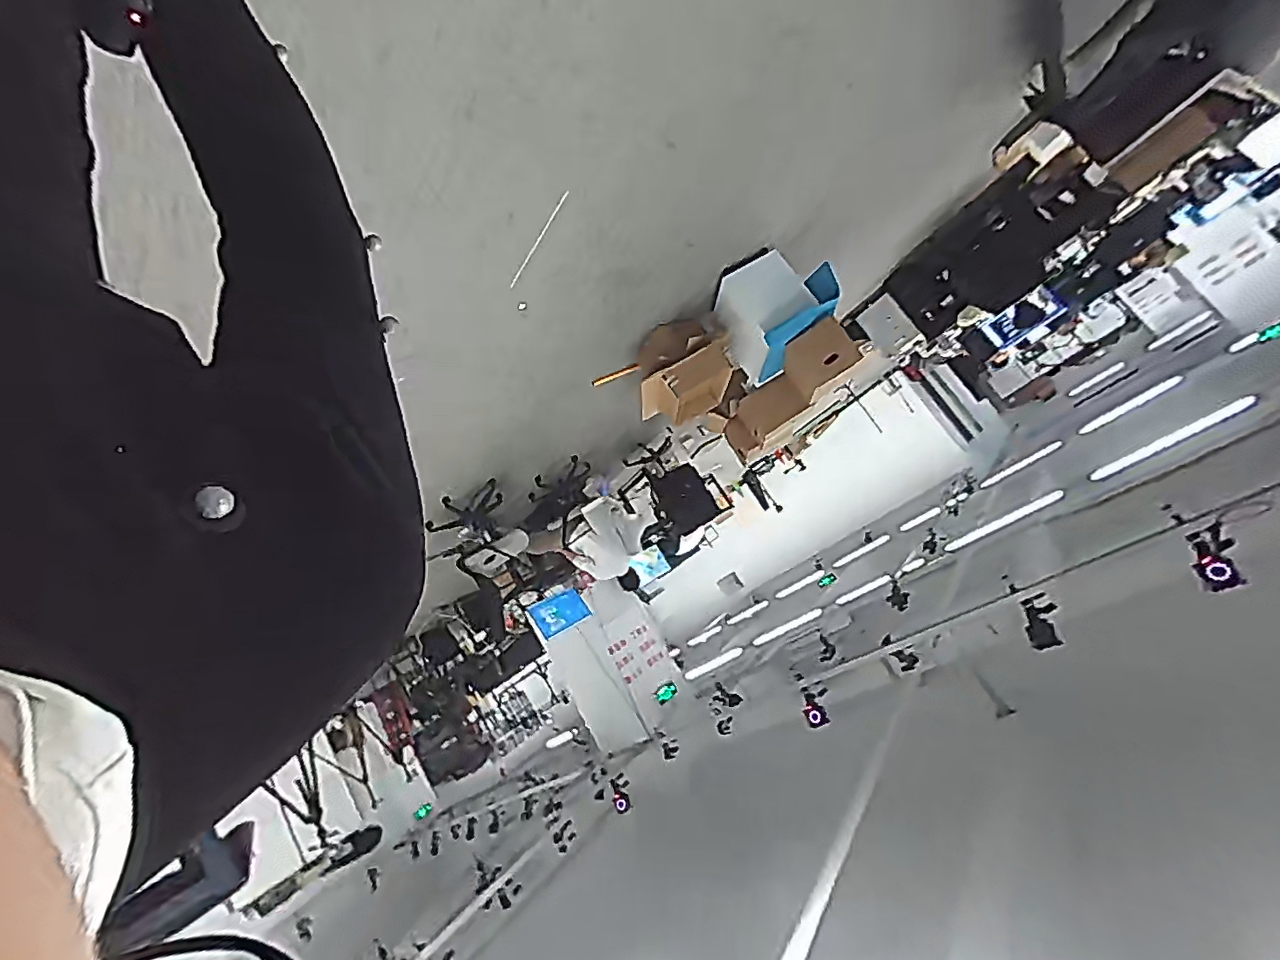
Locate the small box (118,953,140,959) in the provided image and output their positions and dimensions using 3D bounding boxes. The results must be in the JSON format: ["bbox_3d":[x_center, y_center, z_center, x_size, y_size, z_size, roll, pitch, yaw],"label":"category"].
[{"bbox_3d":[-1.266,1.262,1.270,0.168,0.176,0.179,-19,164,-50],"label":"small box"}]
